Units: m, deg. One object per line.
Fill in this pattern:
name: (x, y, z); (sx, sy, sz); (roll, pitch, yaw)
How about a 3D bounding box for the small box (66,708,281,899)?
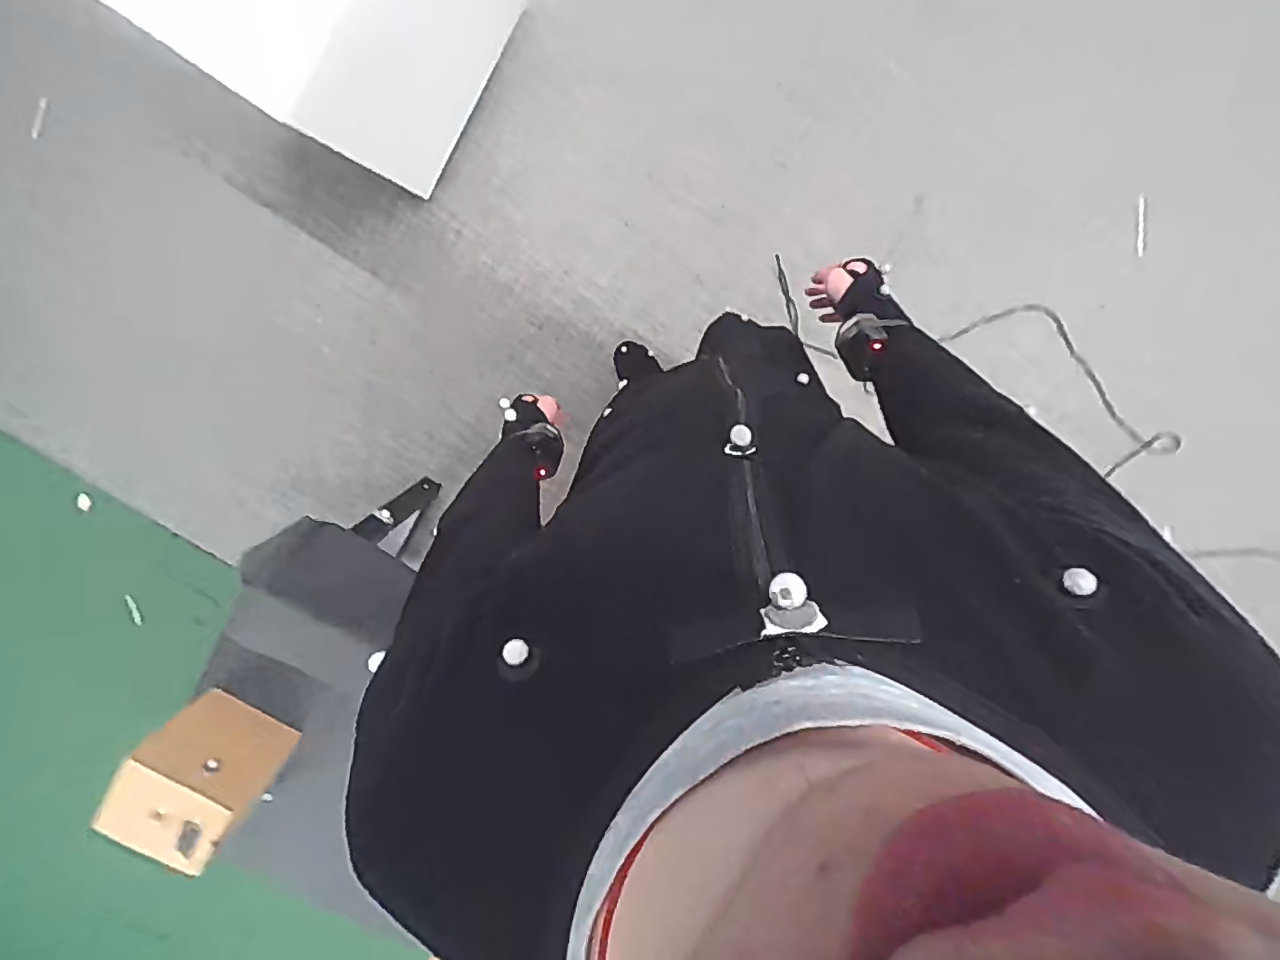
small box: (-0.730, 0.507, 0.868); (0.179, 0.176, 0.168); (34, 103, -8)
